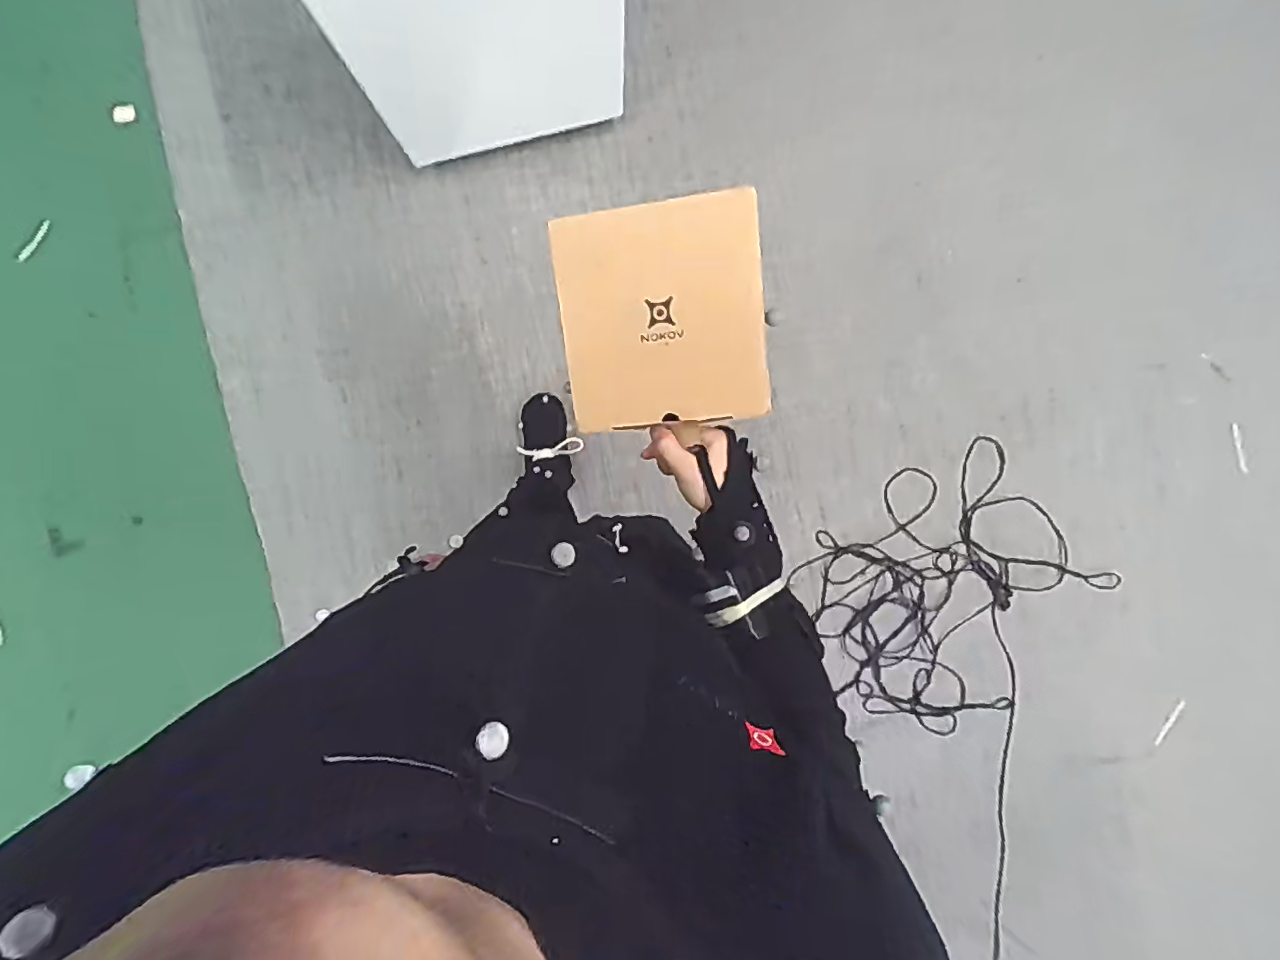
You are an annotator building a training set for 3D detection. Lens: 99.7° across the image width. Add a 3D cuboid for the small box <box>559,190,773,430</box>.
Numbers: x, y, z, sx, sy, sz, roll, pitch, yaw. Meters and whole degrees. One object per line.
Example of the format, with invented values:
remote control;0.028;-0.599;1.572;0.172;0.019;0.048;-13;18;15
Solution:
small box;0.031;-0.150;0.514;0.168;0.176;0.179;-4;104;8
